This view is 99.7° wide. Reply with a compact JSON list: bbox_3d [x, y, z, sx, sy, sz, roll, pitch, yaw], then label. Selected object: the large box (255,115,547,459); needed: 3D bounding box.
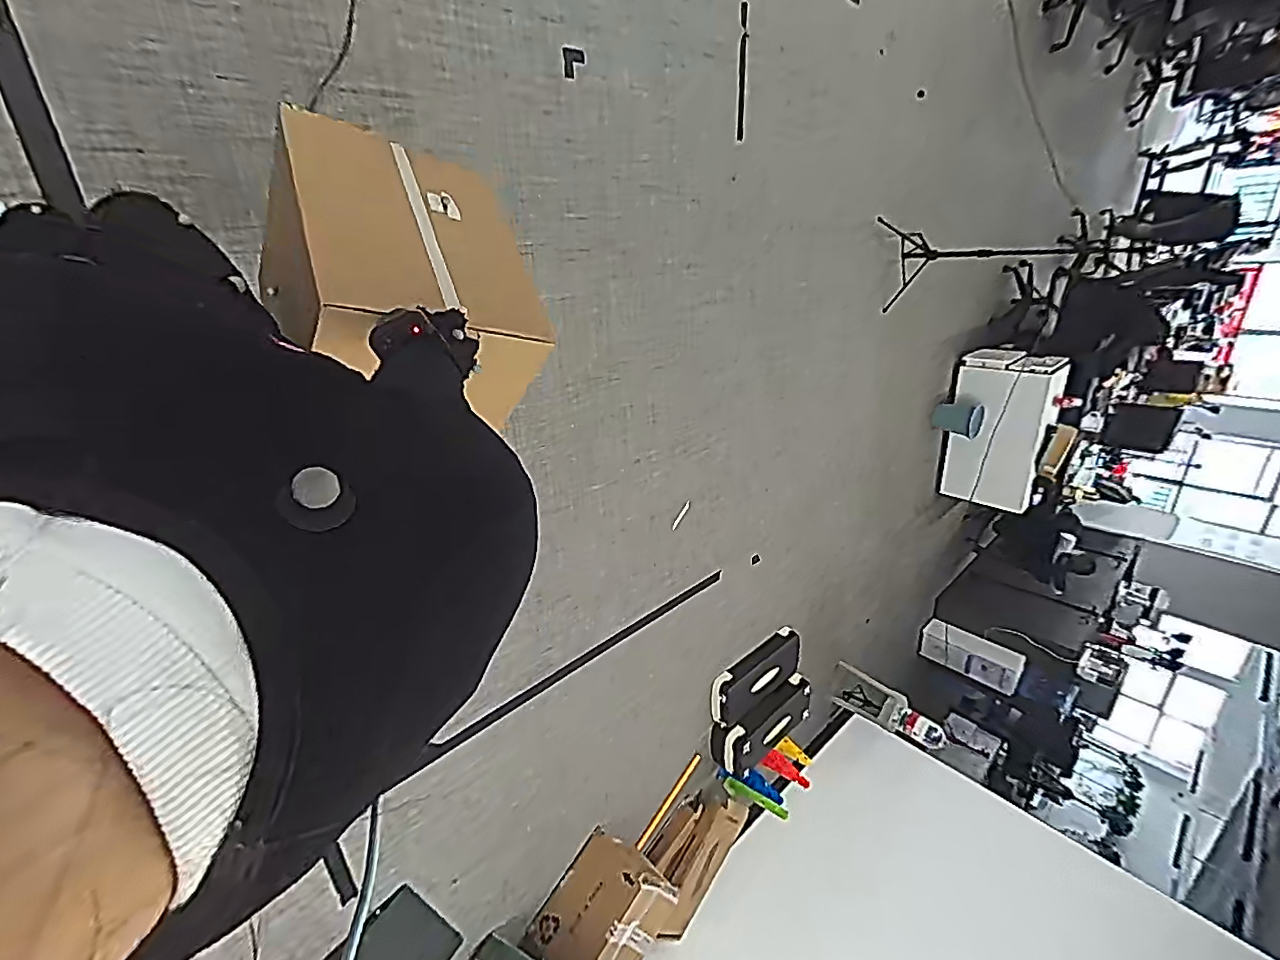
[{"bbox_3d":[-0.413,-0.281,0.891,0.320,0.408,0.320,-2,147,-44],"label":"large box"}]
